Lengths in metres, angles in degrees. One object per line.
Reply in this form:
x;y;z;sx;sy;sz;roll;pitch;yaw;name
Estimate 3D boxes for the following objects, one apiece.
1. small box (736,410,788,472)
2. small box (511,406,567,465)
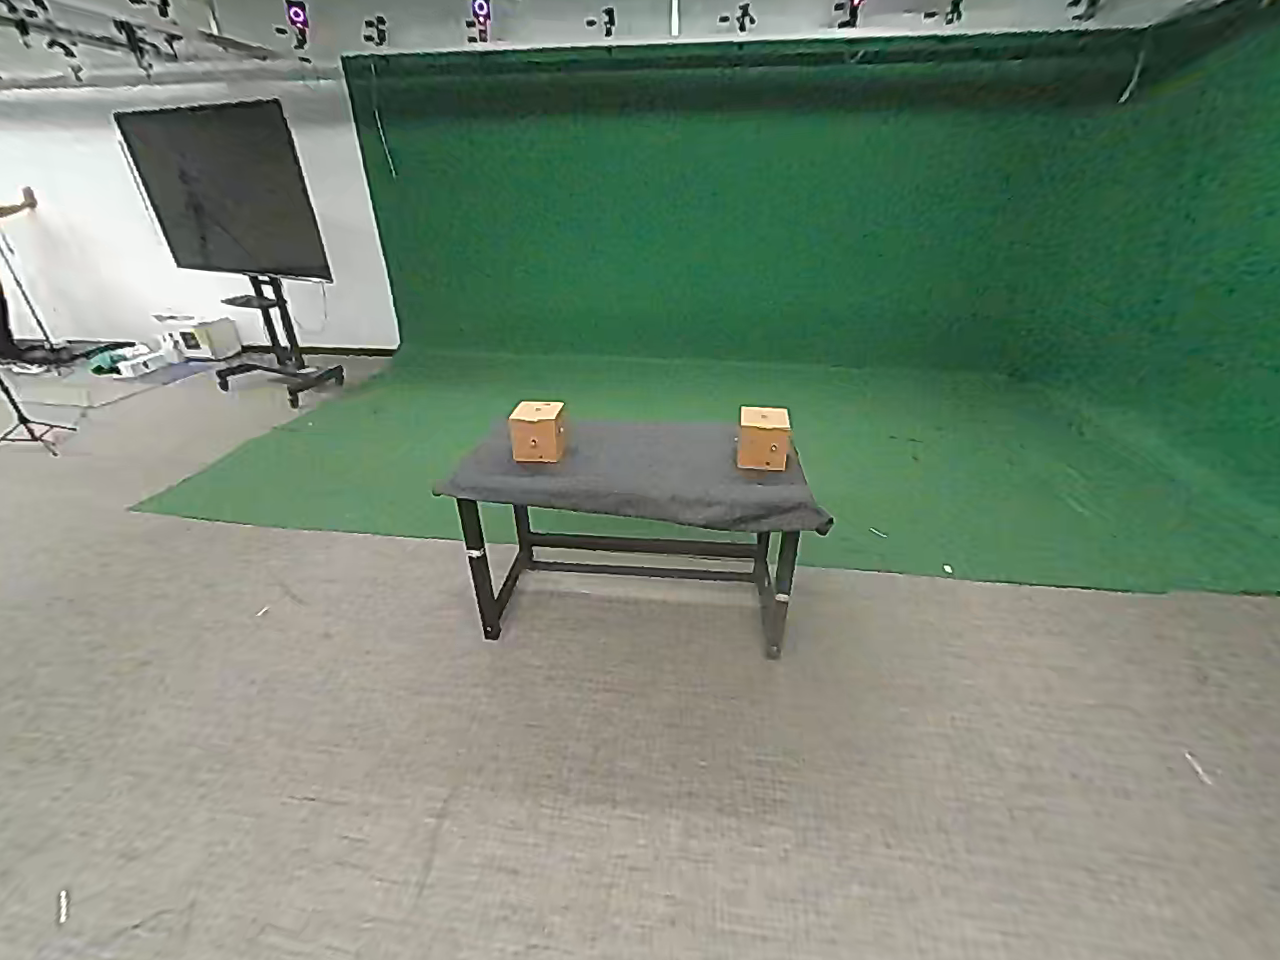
0.436;-0.139;1.944;0.168;0.176;0.179;5;28;8;small box
-0.369;-0.165;2.012;0.168;0.176;0.179;2;29;4;small box
